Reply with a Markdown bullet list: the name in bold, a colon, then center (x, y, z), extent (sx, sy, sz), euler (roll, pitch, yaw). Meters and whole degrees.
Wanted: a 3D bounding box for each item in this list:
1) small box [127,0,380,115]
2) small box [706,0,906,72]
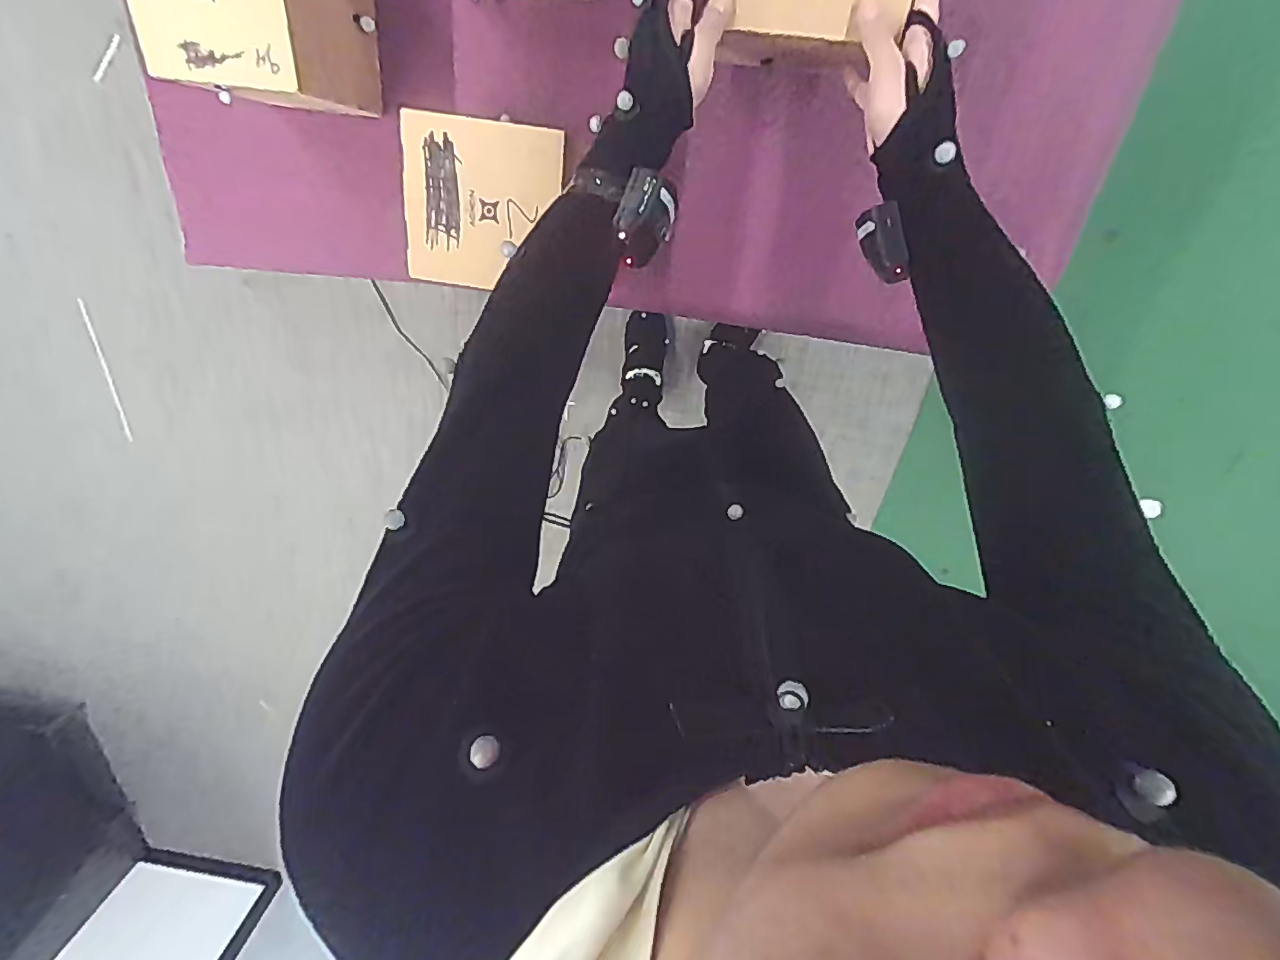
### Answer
- **small box**: center (-0.407, -0.521, 0.584), extent (0.168, 0.176, 0.179), euler (10, 117, 4)
- **small box**: center (0.152, -0.495, 0.484), extent (0.168, 0.176, 0.179), euler (8, 120, 2)
